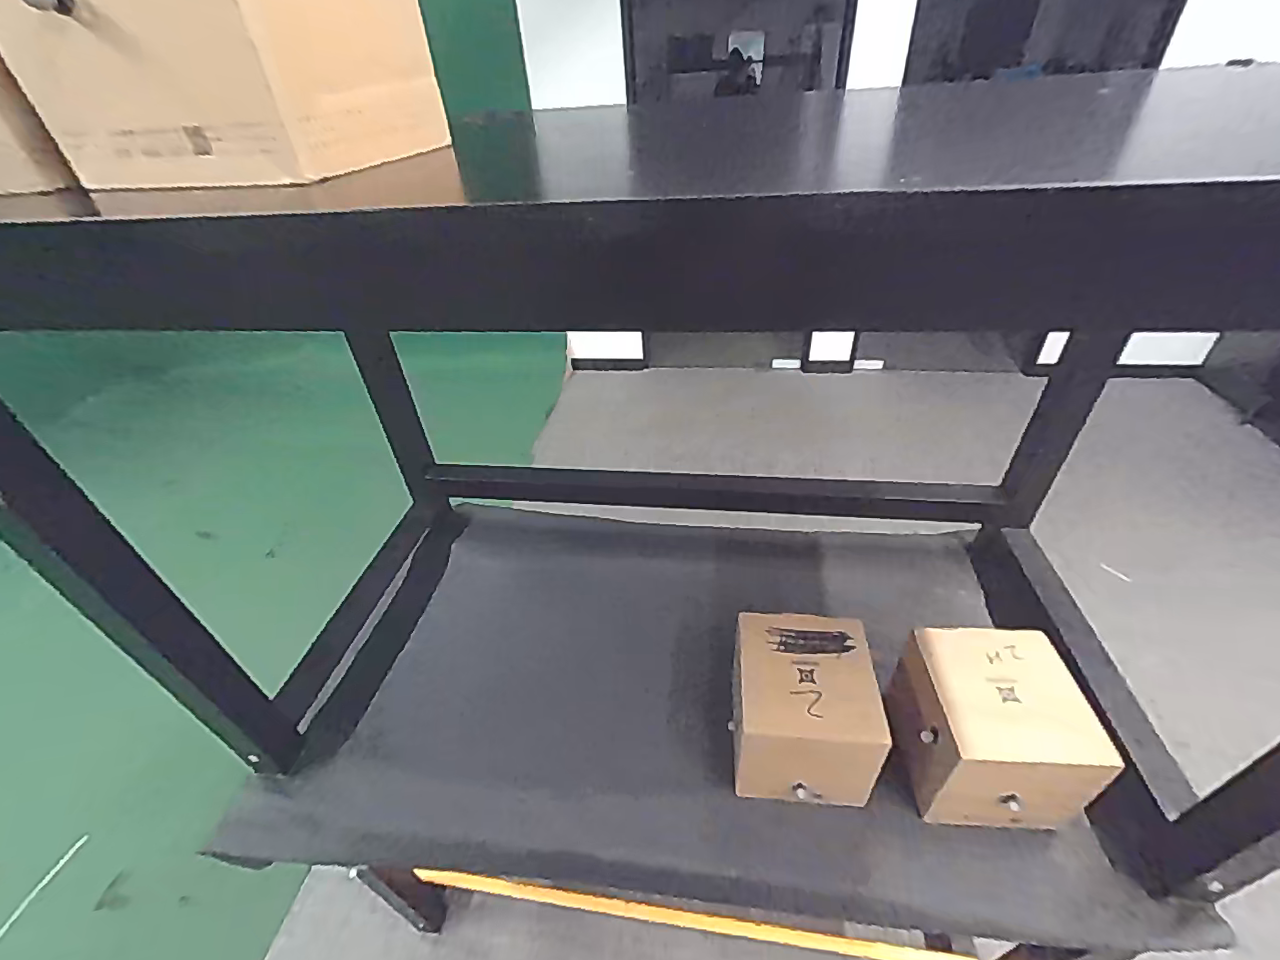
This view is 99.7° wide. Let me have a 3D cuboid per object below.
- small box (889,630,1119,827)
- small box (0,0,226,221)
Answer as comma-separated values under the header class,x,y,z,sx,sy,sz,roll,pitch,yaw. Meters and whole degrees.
class,x,y,z,sx,sy,sz,roll,pitch,yaw
small box,0.441,0.317,0.693,0.168,0.176,0.179,0,37,5
small box,-0.440,-0.290,0.373,0.168,0.176,0.179,2,39,7
